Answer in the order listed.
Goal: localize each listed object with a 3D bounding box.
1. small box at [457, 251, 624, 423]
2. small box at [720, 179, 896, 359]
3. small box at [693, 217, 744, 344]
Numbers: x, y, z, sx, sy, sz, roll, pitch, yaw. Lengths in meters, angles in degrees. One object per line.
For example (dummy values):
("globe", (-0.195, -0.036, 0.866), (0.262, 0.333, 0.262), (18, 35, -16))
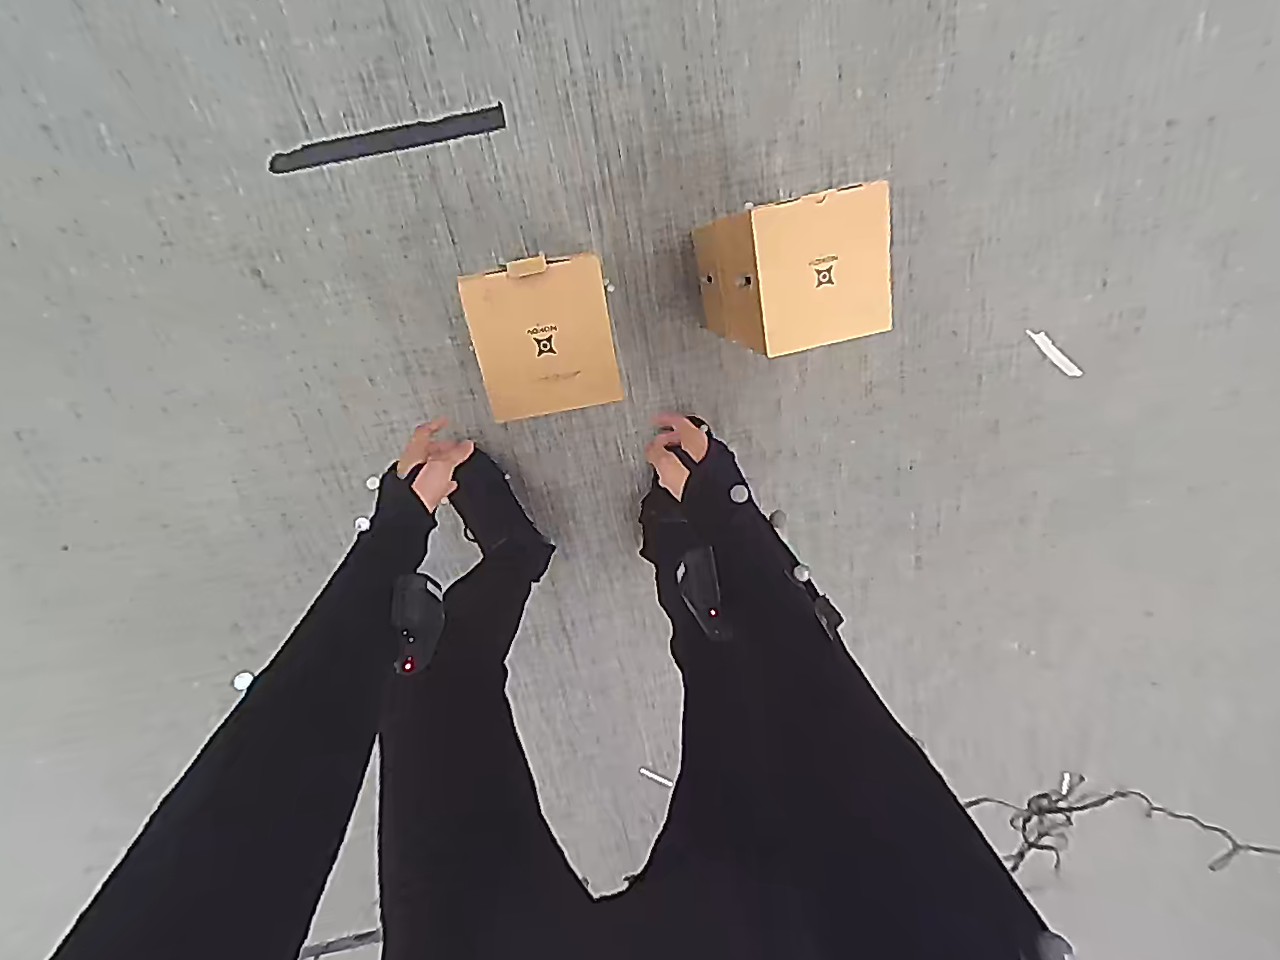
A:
("small box", (-0.120, -0.189, 0.700), (0.168, 0.176, 0.179), (-11, 112, -2))
("small box", (0.213, -0.273, 0.710), (0.168, 0.176, 0.179), (-14, 112, -2))
("small box", (0.191, -0.331, 0.860), (0.168, 0.176, 0.179), (-14, 112, -1))
